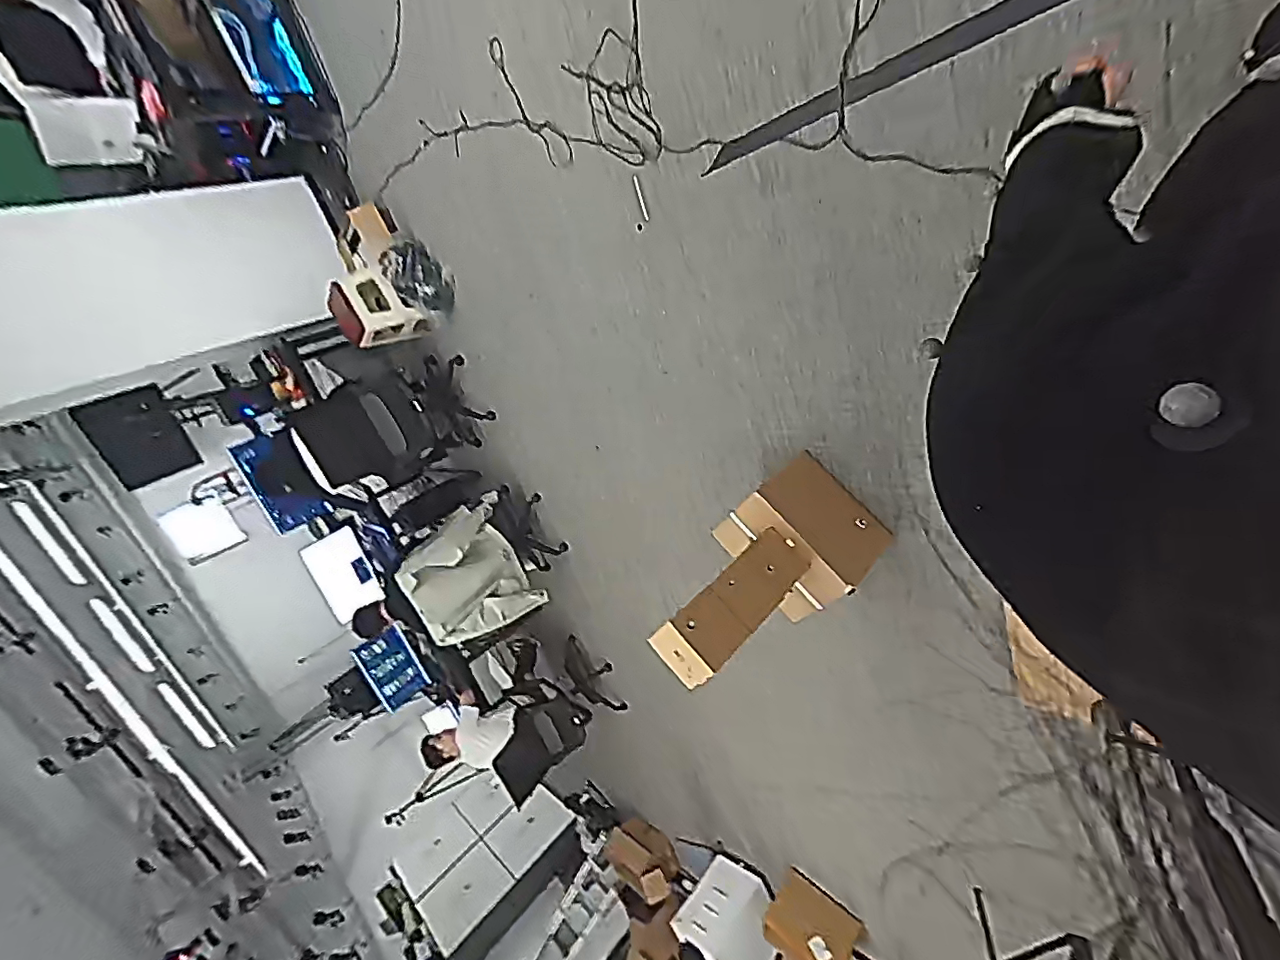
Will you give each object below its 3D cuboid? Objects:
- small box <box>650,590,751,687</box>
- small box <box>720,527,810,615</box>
[{"bbox_3d":[0.165,0.423,1.473,0.179,0.176,0.168,47,144,13],"label":"small box"},{"bbox_3d":[0.388,0.276,1.666,0.179,0.176,0.168,47,143,15],"label":"small box"}]
